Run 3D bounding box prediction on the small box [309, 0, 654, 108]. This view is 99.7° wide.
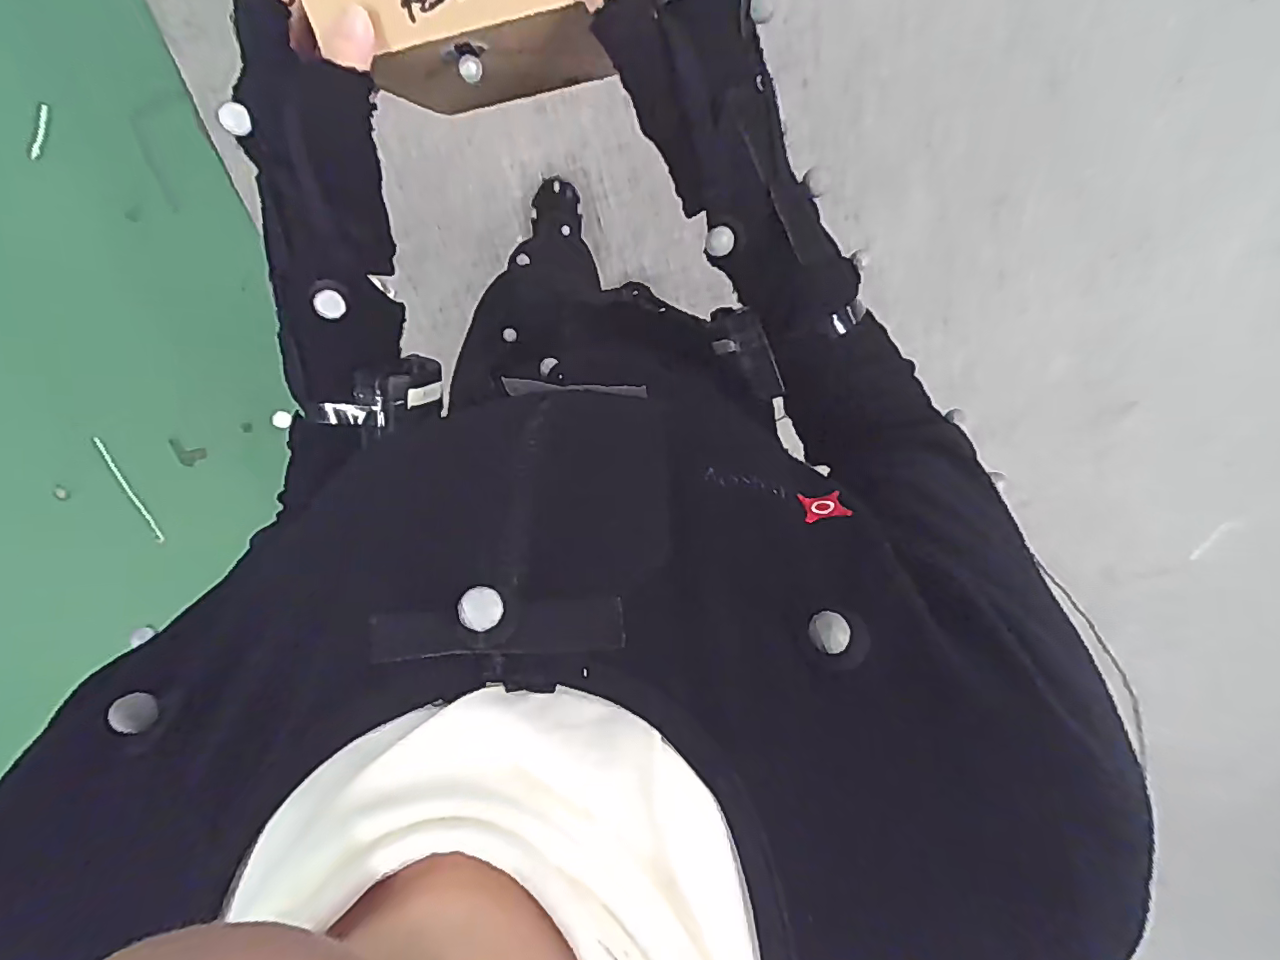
[{"bbox_3d":[-0.087,-0.332,0.293,0.168,0.176,0.179,-9,116,6],"label":"small box"}]
